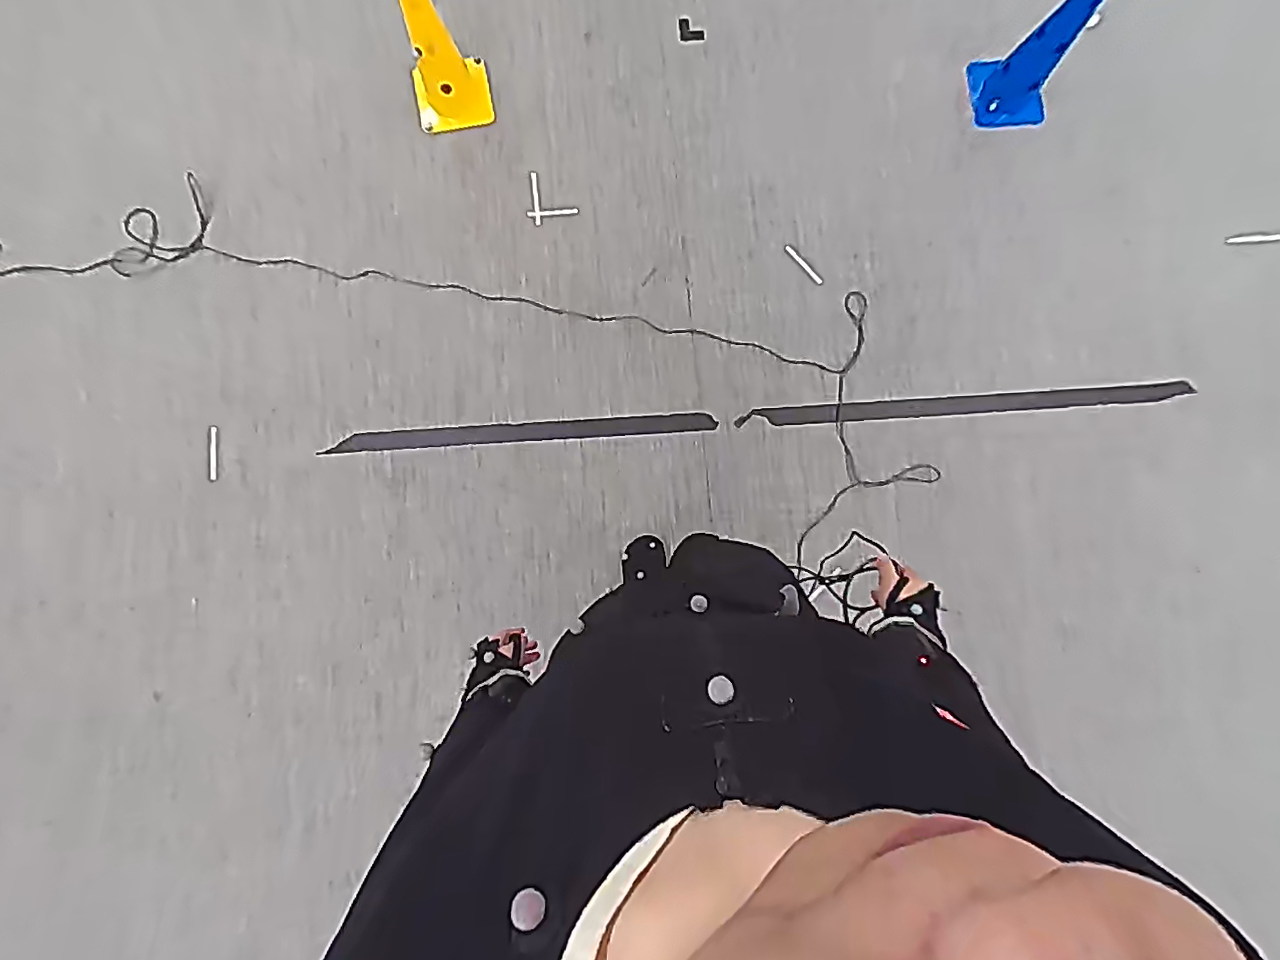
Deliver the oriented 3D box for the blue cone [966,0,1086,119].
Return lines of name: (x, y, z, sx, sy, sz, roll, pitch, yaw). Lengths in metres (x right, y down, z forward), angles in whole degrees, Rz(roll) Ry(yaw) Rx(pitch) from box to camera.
blue cone: (1.024, -1.121, 1.356, 0.193, 0.380, 0.192, -4, 83, -2)
